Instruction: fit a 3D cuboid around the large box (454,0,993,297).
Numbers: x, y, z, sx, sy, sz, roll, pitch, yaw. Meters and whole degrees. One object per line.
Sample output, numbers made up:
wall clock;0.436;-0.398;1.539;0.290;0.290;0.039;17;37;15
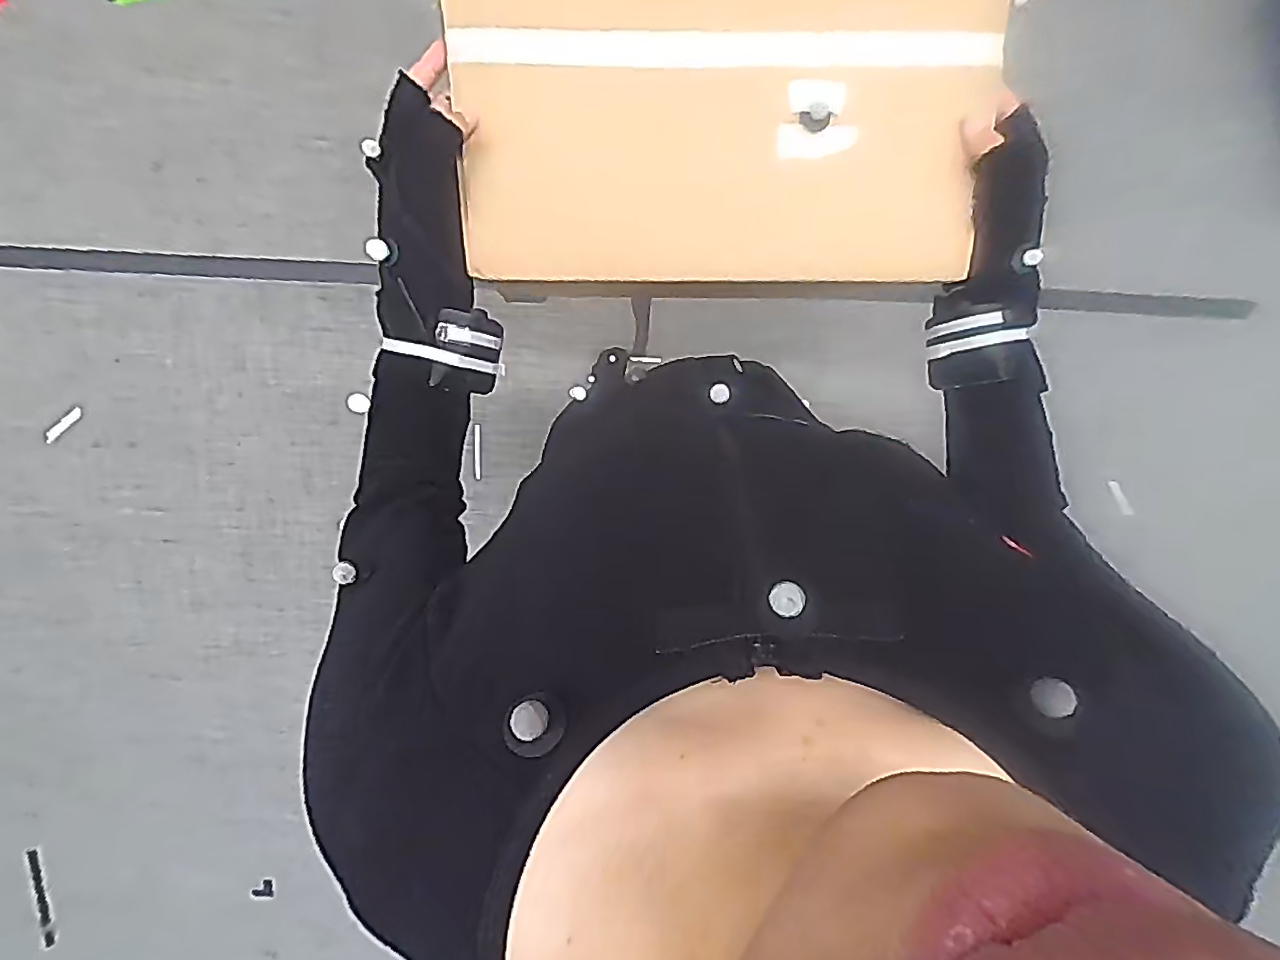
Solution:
large box;0.057;-0.361;0.547;0.408;0.320;0.320;-1;106;-2
